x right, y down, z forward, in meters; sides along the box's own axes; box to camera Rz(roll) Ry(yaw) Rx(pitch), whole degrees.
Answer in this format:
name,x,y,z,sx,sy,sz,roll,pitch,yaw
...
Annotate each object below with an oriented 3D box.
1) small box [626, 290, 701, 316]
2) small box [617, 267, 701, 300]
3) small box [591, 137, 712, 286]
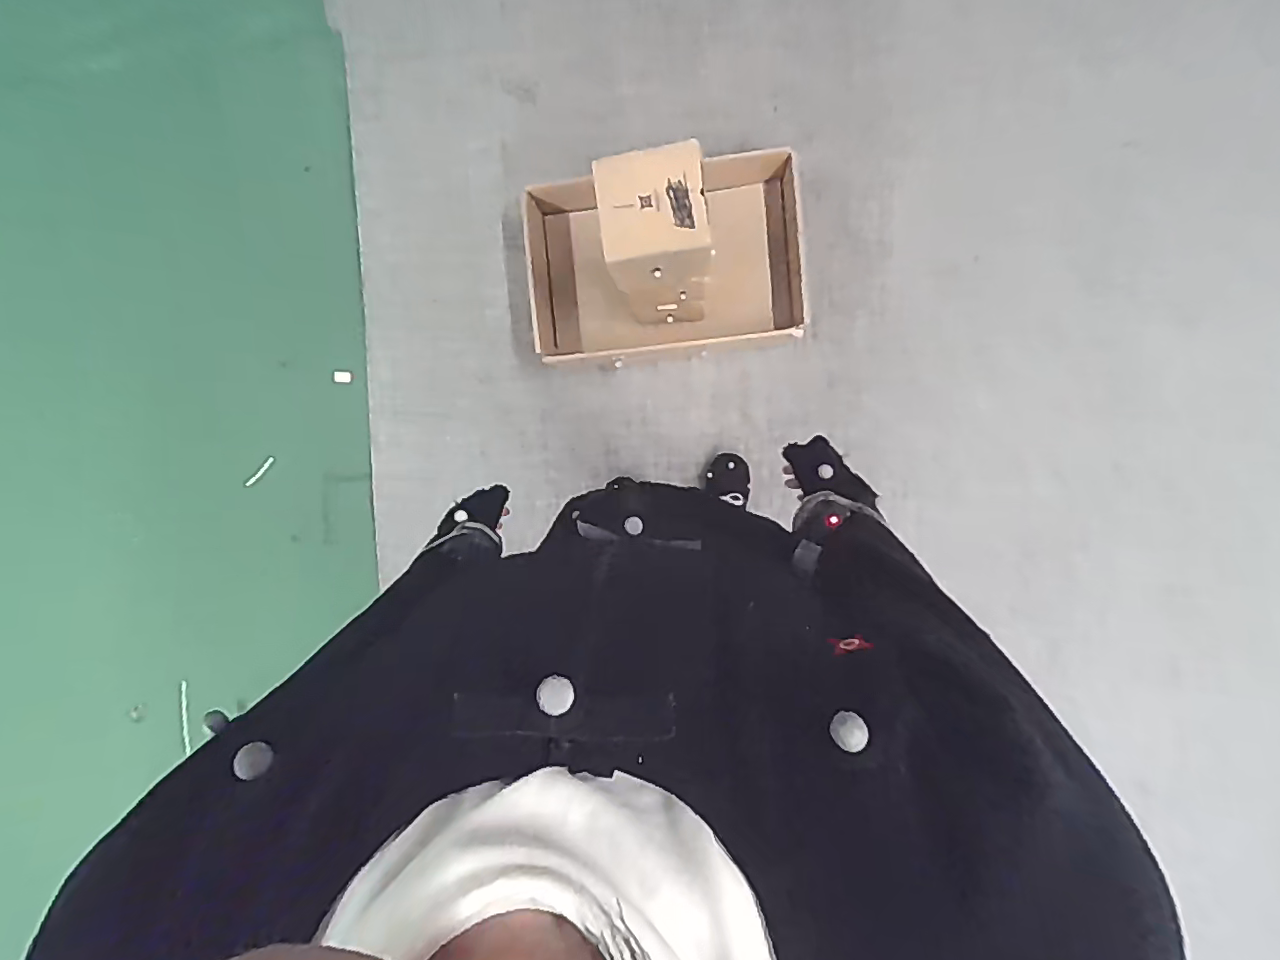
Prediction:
name,x,y,z,sx,sy,sz,roll,pitch,yaw
small box,0.058,-0.488,1.268,0.168,0.176,0.179,-2,94,7
small box,0.040,-0.477,1.107,0.168,0.176,0.179,-3,93,6
small box,0.024,-0.456,0.946,0.179,0.176,0.168,-10,94,6
